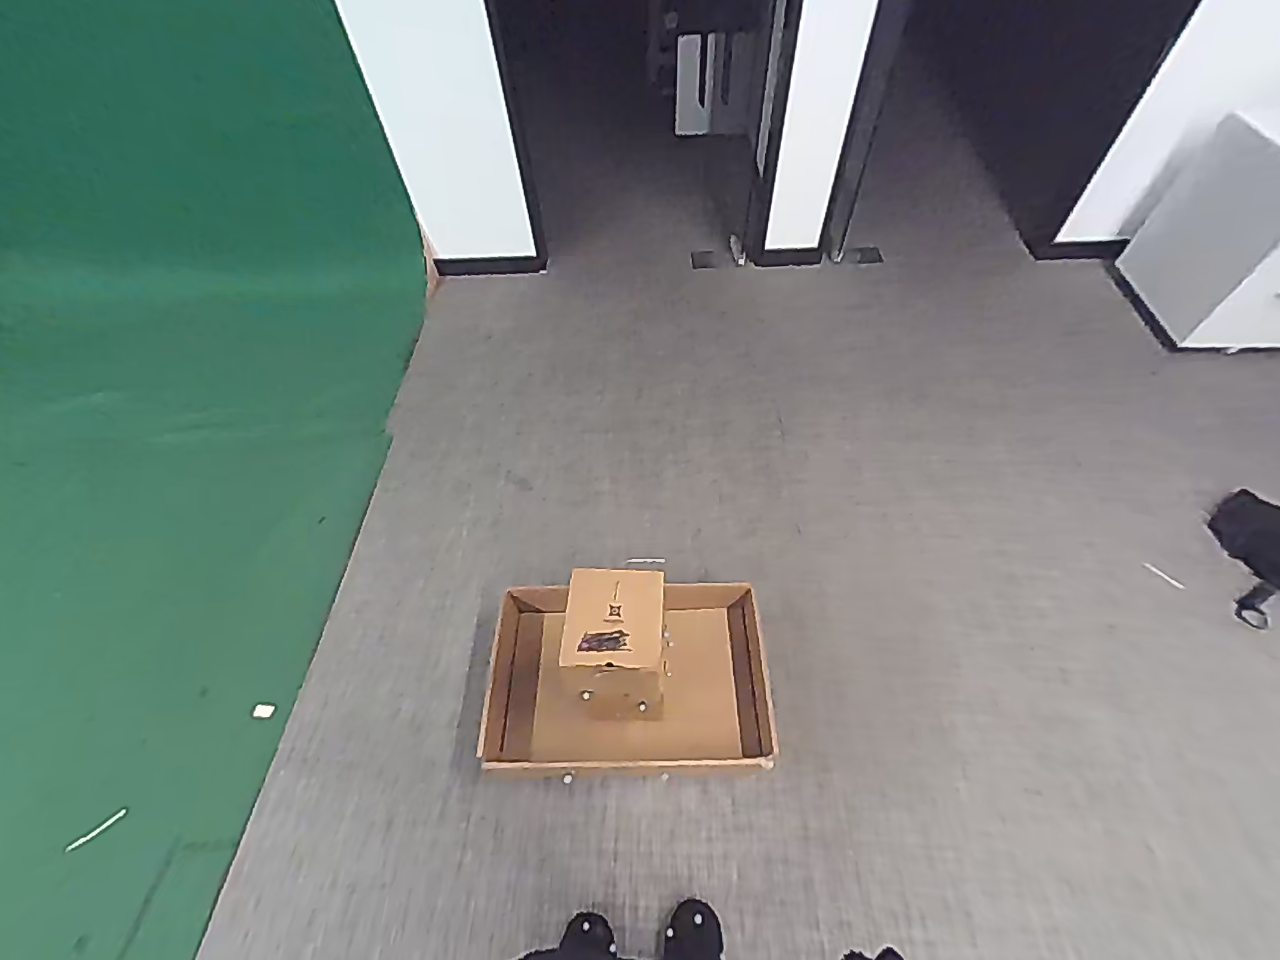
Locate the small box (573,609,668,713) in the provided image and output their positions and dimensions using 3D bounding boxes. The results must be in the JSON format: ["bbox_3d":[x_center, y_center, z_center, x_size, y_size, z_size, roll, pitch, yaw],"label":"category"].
[{"bbox_3d":[-0.035,0.369,1.099,0.179,0.176,0.168,-2,54,1],"label":"small box"}]

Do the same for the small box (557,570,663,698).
[{"bbox_3d":[-0.045,0.282,0.979,0.168,0.176,0.179,2,52,3],"label":"small box"}]

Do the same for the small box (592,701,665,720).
[{"bbox_3d":[-0.032,0.453,1.261,0.179,0.176,0.168,-2,53,0],"label":"small box"}]
